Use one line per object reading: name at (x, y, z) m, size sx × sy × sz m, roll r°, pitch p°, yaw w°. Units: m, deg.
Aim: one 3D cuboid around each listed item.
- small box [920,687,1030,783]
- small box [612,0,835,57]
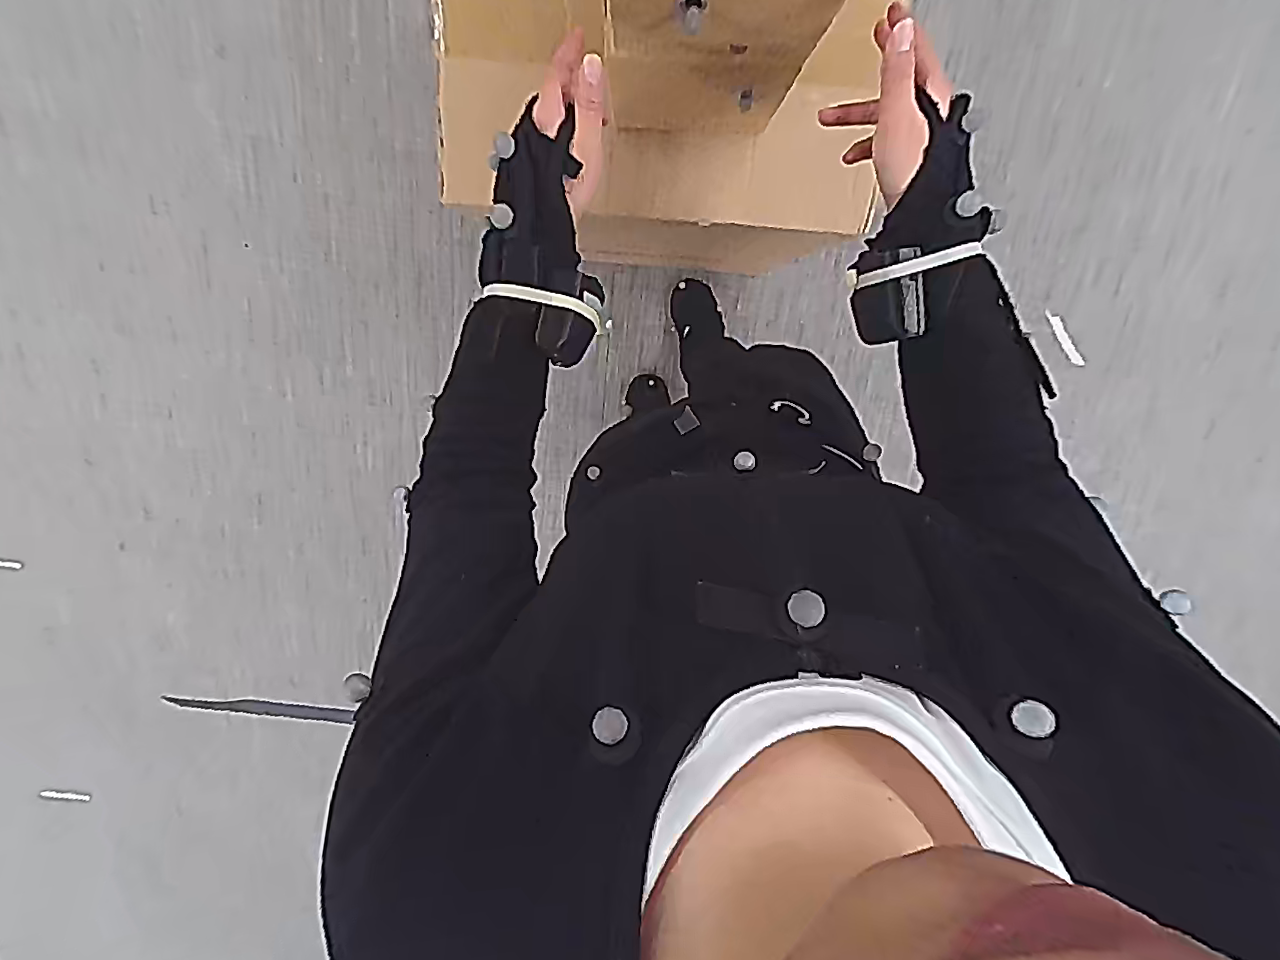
small box at (0.914, 0.696, 1.491) m, size 0.179 × 0.176 × 0.168 m, roll 8°, pitch 104°, yaw -1°
small box at (0.063, -0.413, 0.352) m, size 0.168 × 0.176 × 0.179 m, roll 2°, pitch 106°, yaw 0°
